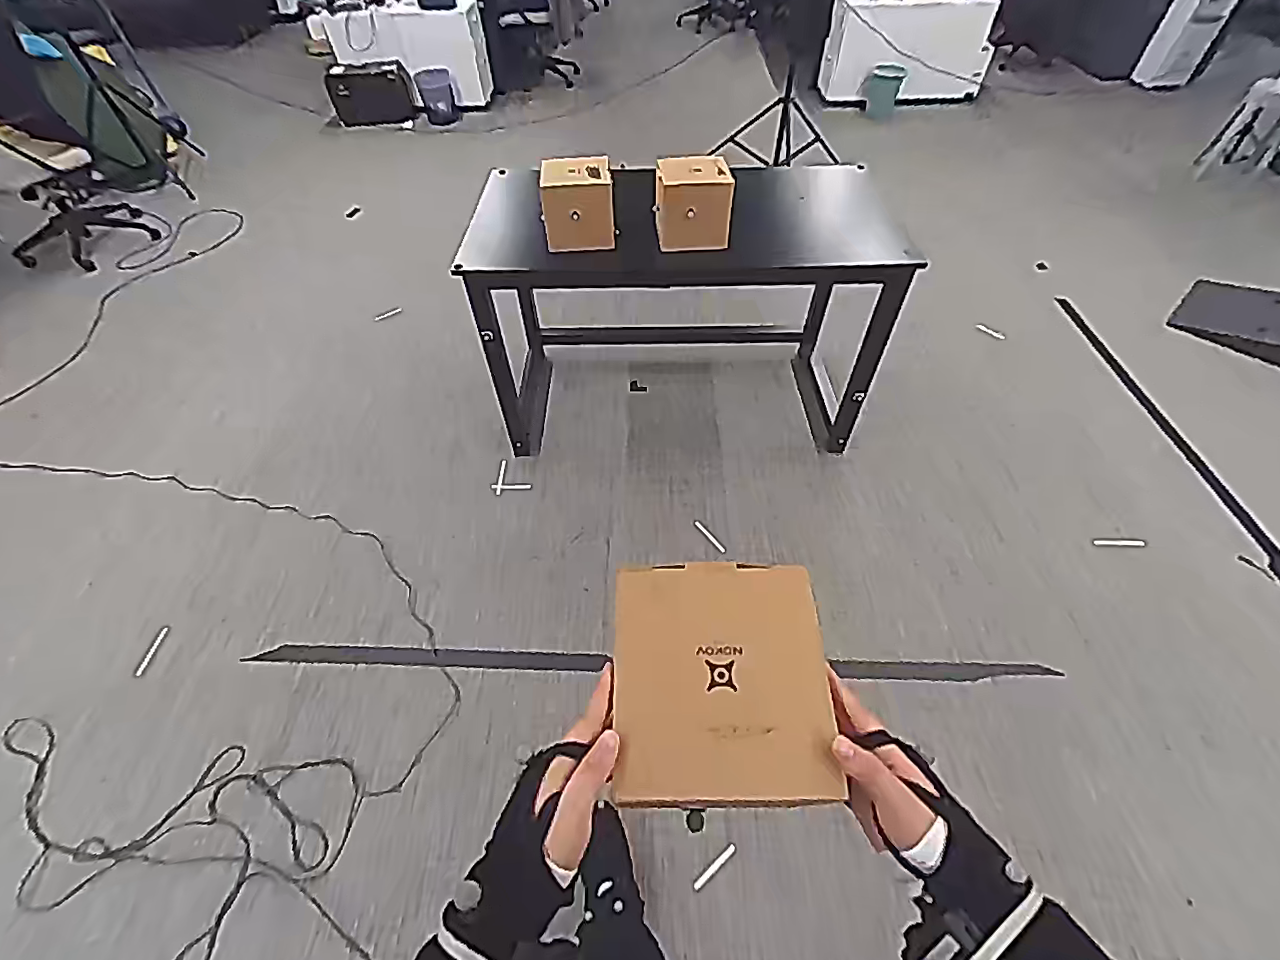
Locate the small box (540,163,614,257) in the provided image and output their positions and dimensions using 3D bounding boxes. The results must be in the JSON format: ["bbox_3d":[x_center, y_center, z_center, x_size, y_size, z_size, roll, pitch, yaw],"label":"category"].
[{"bbox_3d":[-0.159,-0.707,1.423,0.179,0.176,0.168,-4,50,-1],"label":"small box"}]

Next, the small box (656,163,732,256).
[{"bbox_3d":[0.136,-0.705,1.415,0.179,0.176,0.168,-4,50,-1],"label":"small box"}]

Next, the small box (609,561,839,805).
[{"bbox_3d":[0.058,0.188,0.491,0.168,0.176,0.179,0,57,-1],"label":"small box"}]
